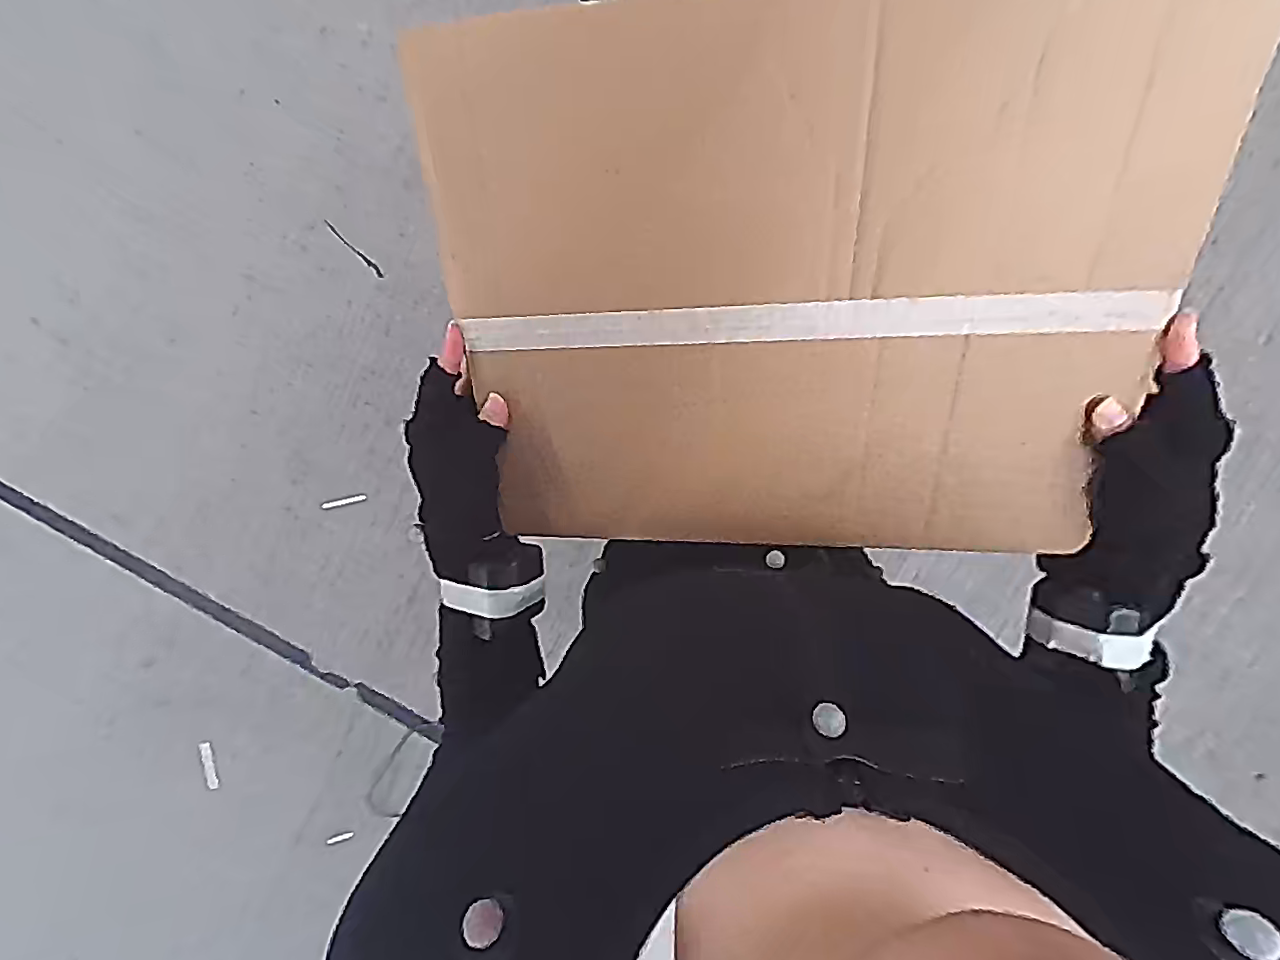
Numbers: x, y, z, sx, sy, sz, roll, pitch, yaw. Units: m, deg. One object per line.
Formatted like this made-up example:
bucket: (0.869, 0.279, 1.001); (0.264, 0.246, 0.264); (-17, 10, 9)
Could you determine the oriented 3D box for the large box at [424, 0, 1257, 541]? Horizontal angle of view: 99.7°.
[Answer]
large box: (0.105, -0.163, 0.460); (0.408, 0.320, 0.320); (1, 118, 9)
